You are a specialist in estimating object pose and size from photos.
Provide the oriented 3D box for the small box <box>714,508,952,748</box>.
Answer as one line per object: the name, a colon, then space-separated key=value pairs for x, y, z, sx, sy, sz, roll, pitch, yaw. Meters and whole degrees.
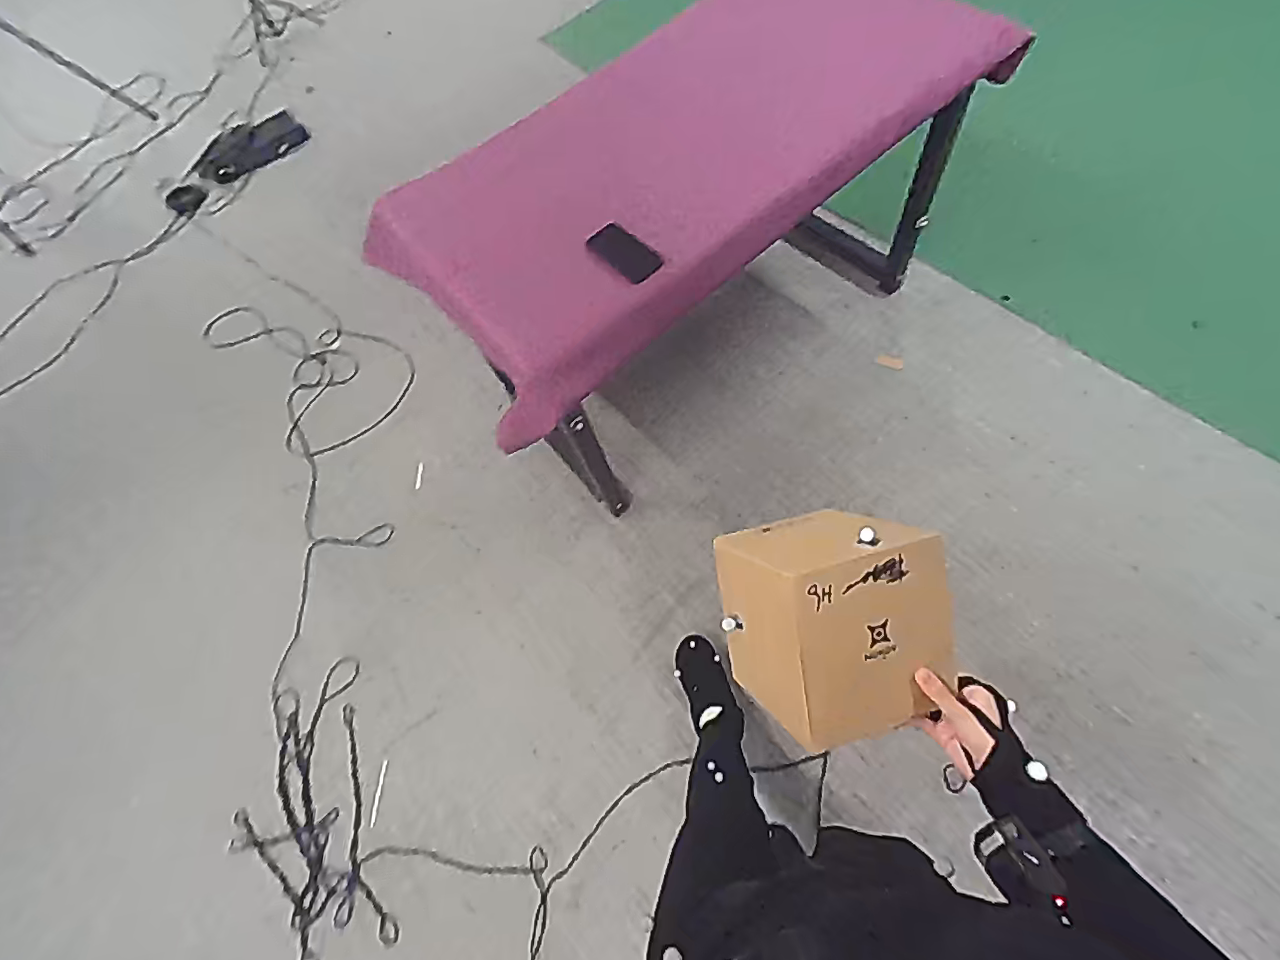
small box: x=0.194 y=0.138 z=0.575 sx=0.168 sy=0.176 sz=0.179 roll=-12 pitch=98 yaw=-15
